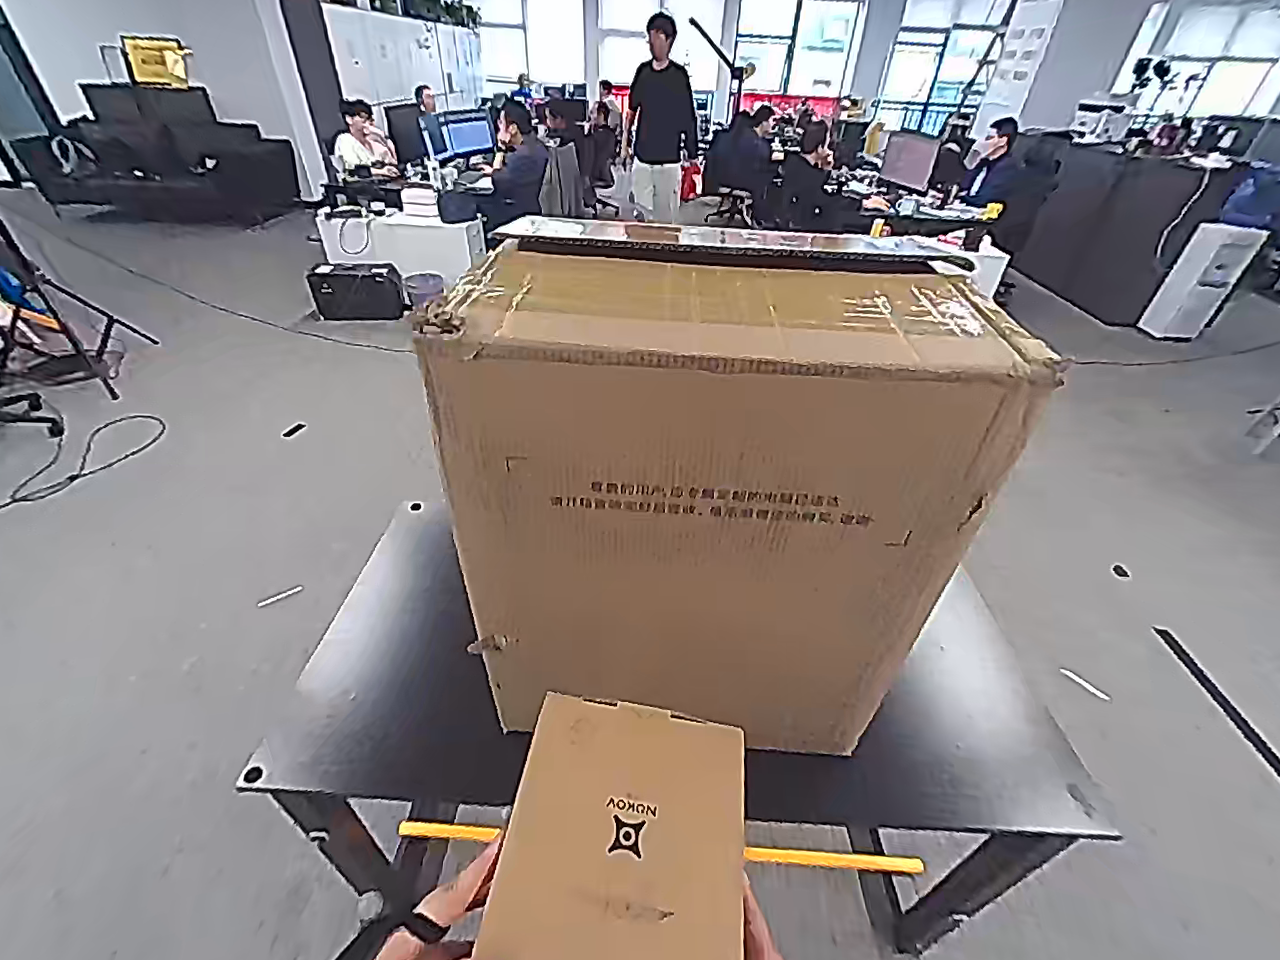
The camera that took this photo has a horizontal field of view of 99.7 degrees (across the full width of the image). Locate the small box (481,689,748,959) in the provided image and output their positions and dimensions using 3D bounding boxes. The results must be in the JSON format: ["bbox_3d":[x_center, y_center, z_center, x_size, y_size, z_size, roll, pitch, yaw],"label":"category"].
[{"bbox_3d":[-0.013,0.302,0.434,0.168,0.176,0.179,9,43,2],"label":"small box"}]
